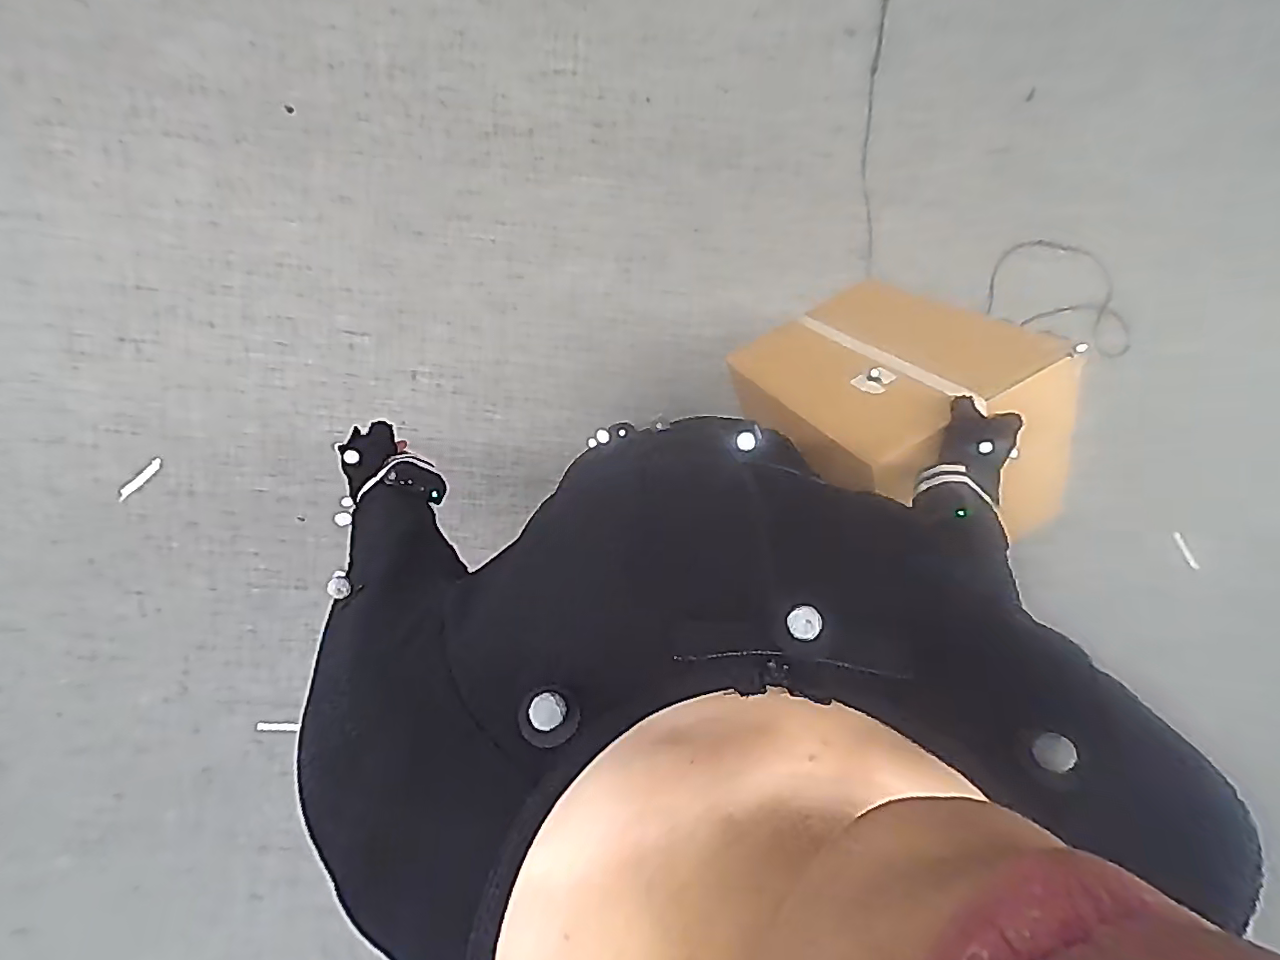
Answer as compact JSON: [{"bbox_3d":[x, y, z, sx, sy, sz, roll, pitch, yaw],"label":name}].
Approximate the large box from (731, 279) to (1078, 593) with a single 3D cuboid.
[{"bbox_3d":[0.412,-0.093,0.926,0.320,0.408,0.320,-29,128,-2],"label":"large box"}]
